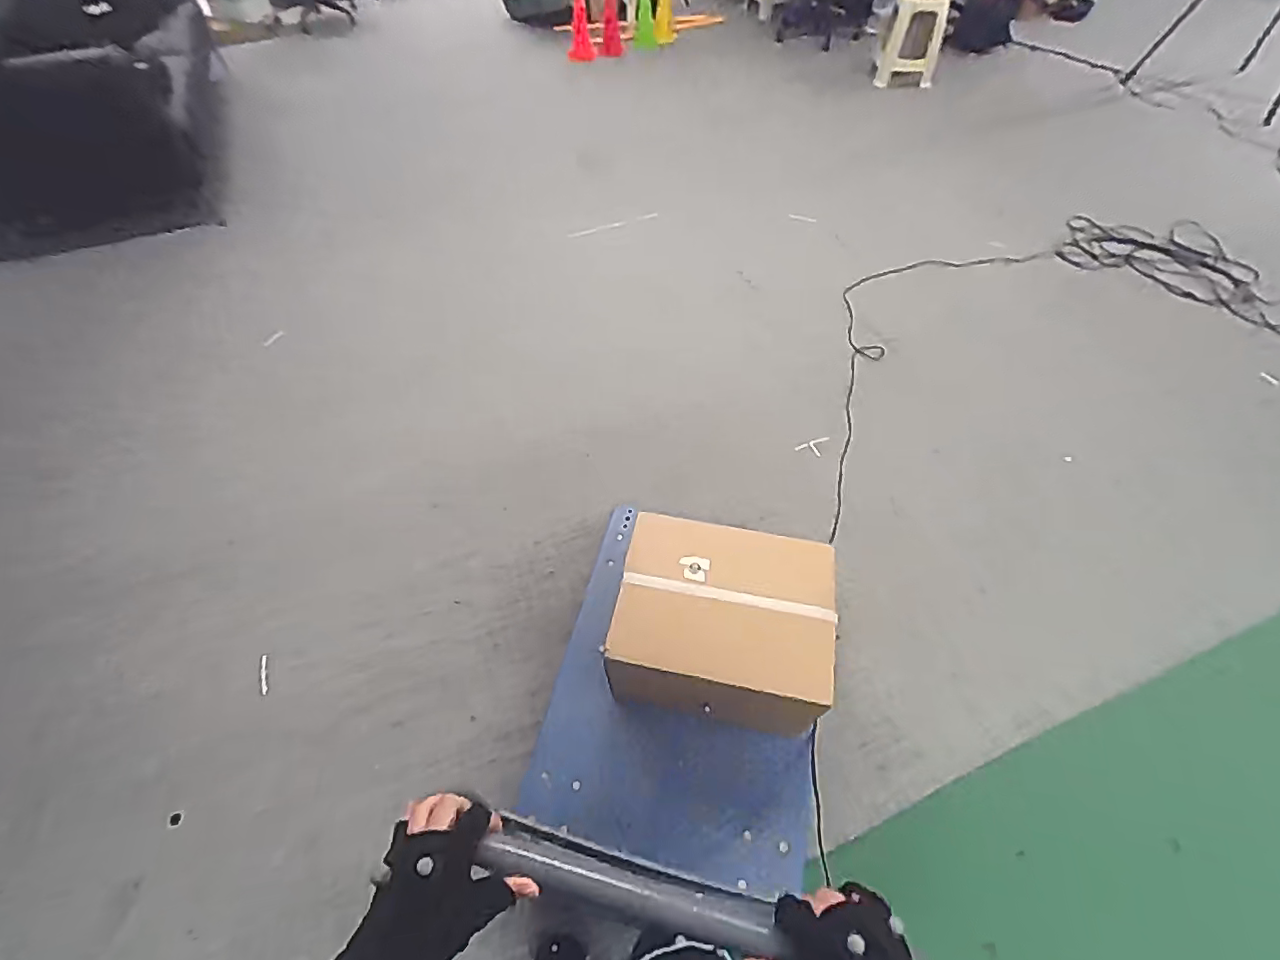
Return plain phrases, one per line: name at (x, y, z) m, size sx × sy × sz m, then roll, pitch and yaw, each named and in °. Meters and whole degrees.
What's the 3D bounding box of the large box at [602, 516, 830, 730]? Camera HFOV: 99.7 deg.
large box at (0.163, 0.307, 1.144) m, size 0.408 × 0.320 × 0.320 m, roll 9°, pitch 55°, yaw 9°
